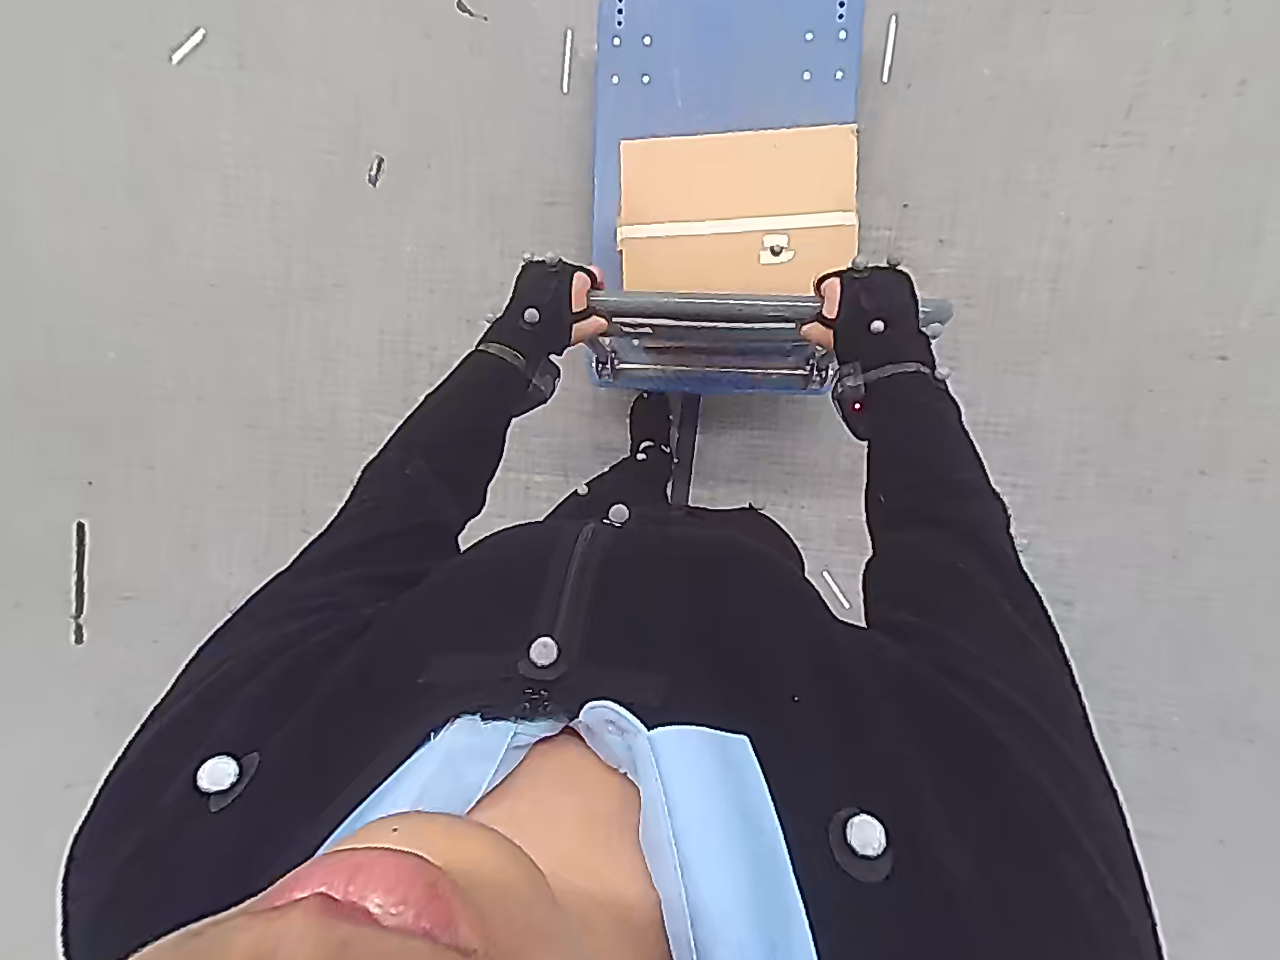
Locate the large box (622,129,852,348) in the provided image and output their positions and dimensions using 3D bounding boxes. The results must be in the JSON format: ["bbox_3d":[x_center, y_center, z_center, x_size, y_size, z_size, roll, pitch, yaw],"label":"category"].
[{"bbox_3d":[0.181,-0.457,1.103,0.408,0.320,0.320,-1,96,5],"label":"large box"}]
